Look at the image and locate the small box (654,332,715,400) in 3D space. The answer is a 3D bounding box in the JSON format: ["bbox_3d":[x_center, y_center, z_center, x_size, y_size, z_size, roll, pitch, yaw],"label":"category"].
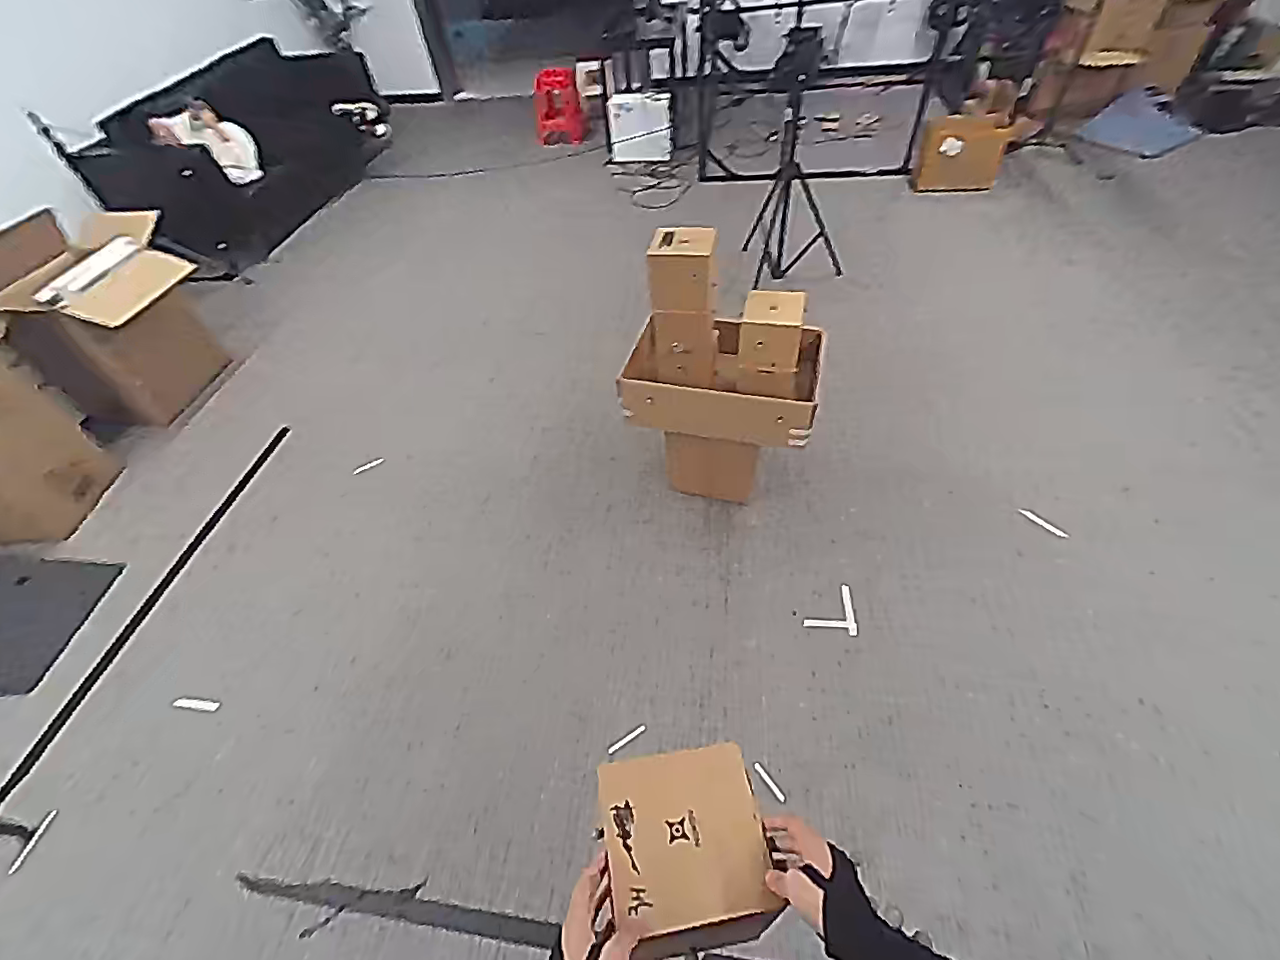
[{"bbox_3d":[0.152,-0.384,1.805,0.179,0.176,0.168,8,51,11],"label":"small box"}]

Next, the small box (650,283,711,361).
[{"bbox_3d":[0.130,-0.494,1.685,0.168,0.176,0.179,4,49,12],"label":"small box"}]

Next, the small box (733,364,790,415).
[{"bbox_3d":[0.391,-0.329,1.733,0.168,0.176,0.179,8,50,12],"label":"small box"}]

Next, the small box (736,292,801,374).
[{"bbox_3d":[0.380,-0.436,1.612,0.168,0.176,0.179,8,49,12],"label":"small box"}]

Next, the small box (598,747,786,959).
[{"bbox_3d":[0.046,0.441,0.639,0.179,0.176,0.168,-3,41,-9],"label":"small box"}]
